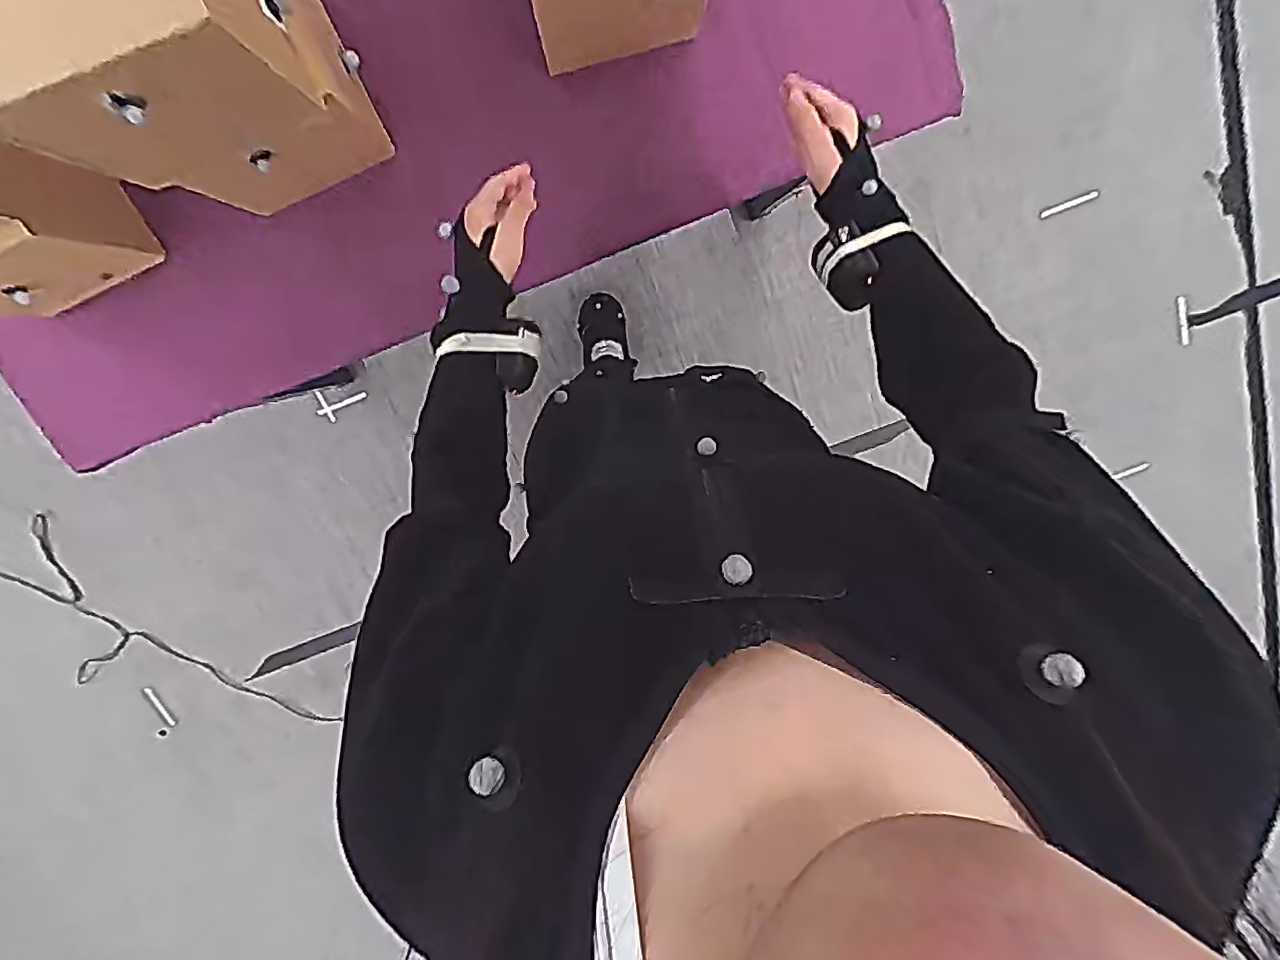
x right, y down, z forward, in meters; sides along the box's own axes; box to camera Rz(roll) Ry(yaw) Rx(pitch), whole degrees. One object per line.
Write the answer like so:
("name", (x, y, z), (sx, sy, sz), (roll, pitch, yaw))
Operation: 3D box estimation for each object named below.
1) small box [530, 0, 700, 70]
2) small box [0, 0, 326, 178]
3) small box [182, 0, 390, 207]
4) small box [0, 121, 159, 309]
("small box", (-0.033, -0.541, 0.520), (0.179, 0.176, 0.168), (-15, 105, 0))
("small box", (-0.372, -0.343, 0.381), (0.179, 0.176, 0.168), (-22, 107, 0))
("small box", (-0.388, -0.398, 0.533), (0.179, 0.176, 0.168), (-24, 106, 1))
("small box", (-0.660, -0.284, 0.545), (0.168, 0.176, 0.179), (-25, 105, 3))
